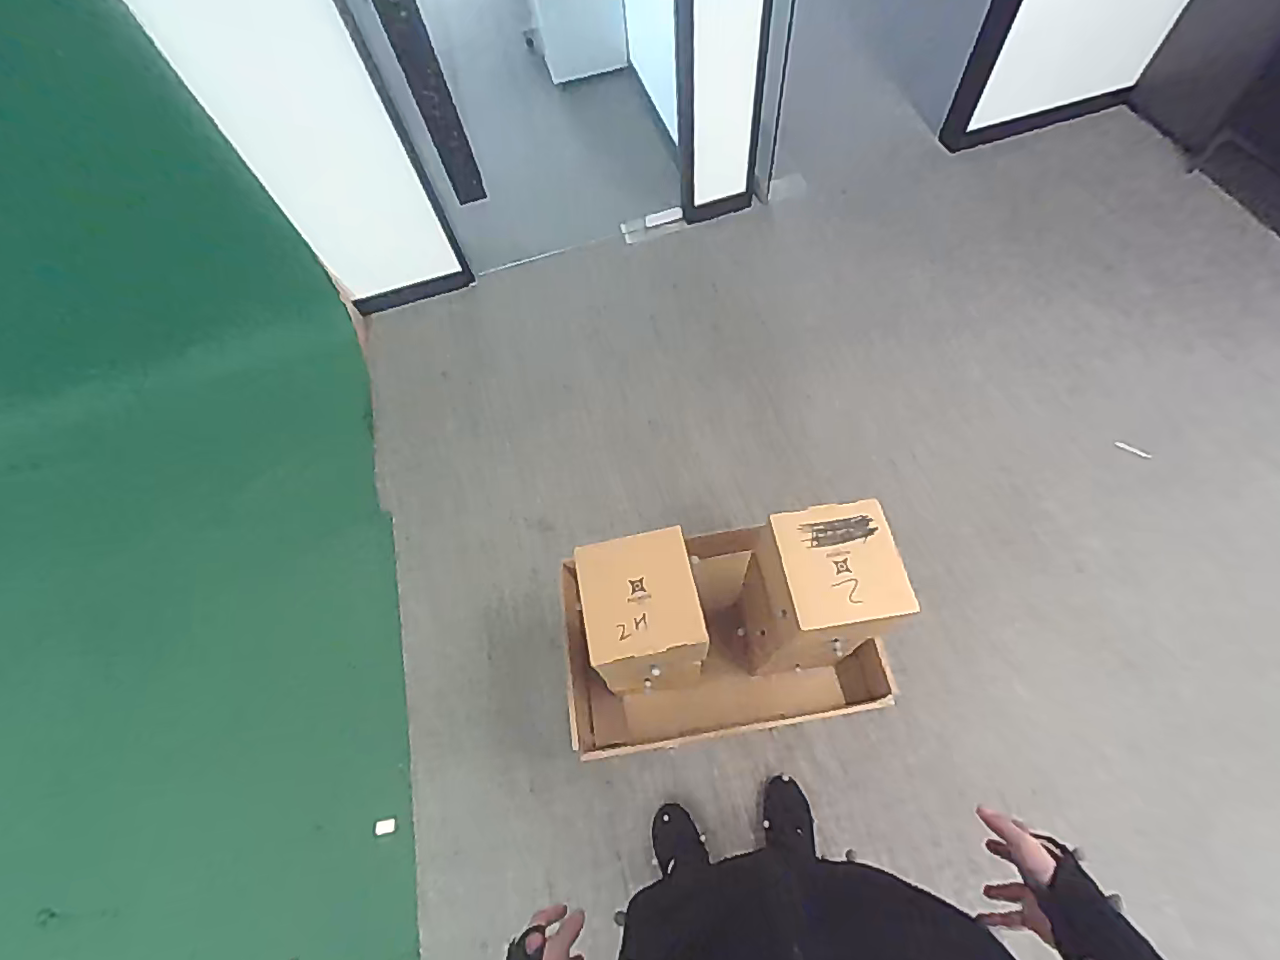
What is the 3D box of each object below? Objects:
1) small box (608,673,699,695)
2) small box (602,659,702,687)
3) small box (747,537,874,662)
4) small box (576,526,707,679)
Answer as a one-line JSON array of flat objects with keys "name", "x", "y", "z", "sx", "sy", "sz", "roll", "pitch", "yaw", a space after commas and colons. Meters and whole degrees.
[{"name": "small box", "x": 0.027, "y": 0.349, "z": 1.132, "sx": 0.179, "sy": 0.176, "sz": 0.168, "roll": -7, "pitch": 62, "yaw": 2}, {"name": "small box", "x": 0.016, "y": 0.270, "z": 0.989, "sx": 0.168, "sy": 0.176, "sz": 0.179, "roll": -9, "pitch": 63, "yaw": 1}, {"name": "small box", "x": 0.296, "y": 0.224, "z": 0.980, "sx": 0.168, "sy": 0.176, "sz": 0.179, "roll": -9, "pitch": 61, "yaw": 1}, {"name": "small box", "x": 0.004, "y": 0.196, "z": 0.843, "sx": 0.168, "sy": 0.176, "sz": 0.179, "roll": -12, "pitch": 62, "yaw": 0}]
